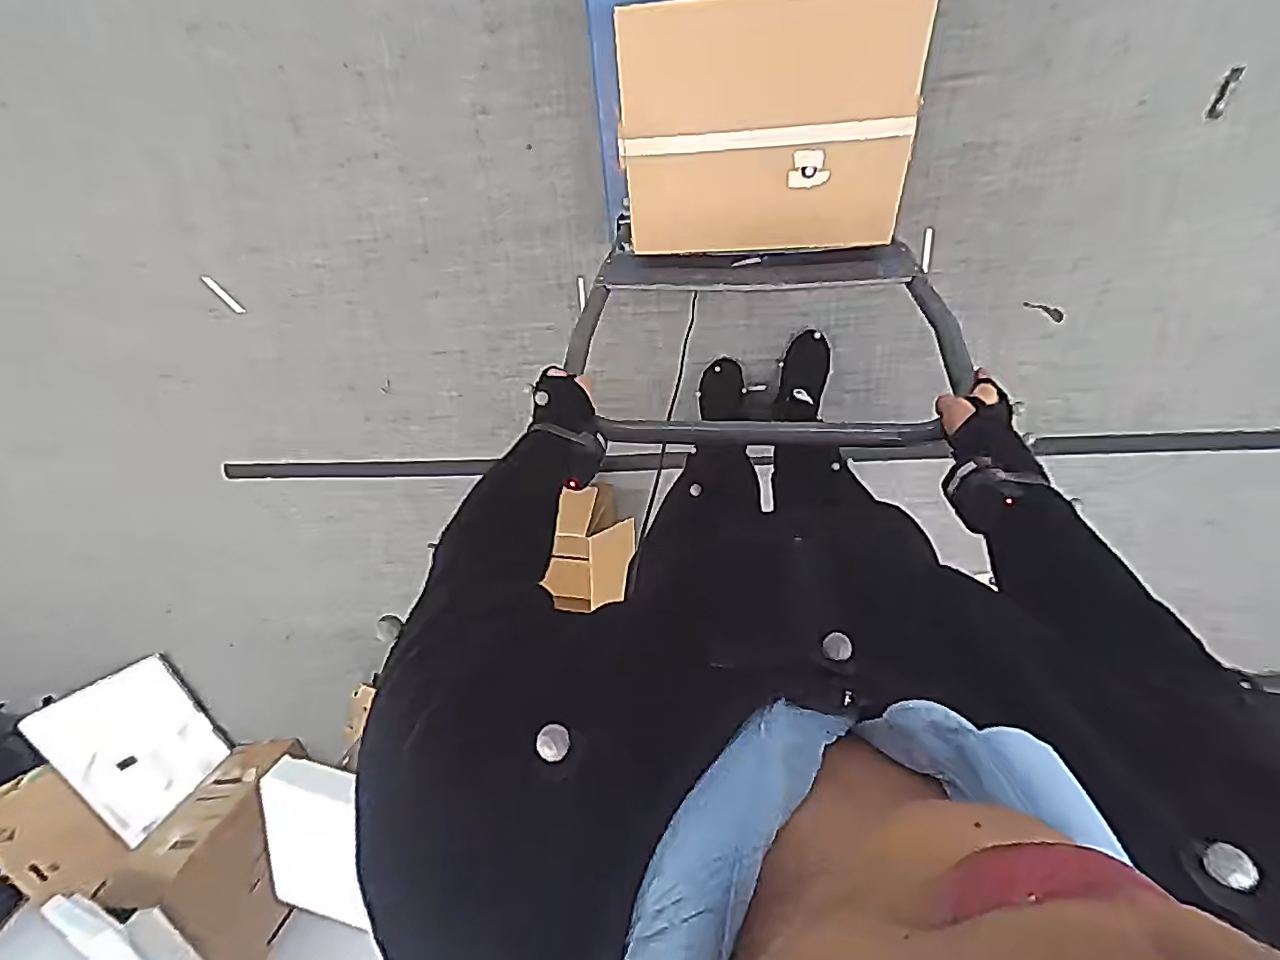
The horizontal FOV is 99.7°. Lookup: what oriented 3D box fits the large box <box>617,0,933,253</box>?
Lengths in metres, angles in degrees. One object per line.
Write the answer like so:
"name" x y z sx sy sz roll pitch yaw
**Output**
"large box" 0.195 -0.591 0.890 0.408 0.320 0.320 0 130 8
